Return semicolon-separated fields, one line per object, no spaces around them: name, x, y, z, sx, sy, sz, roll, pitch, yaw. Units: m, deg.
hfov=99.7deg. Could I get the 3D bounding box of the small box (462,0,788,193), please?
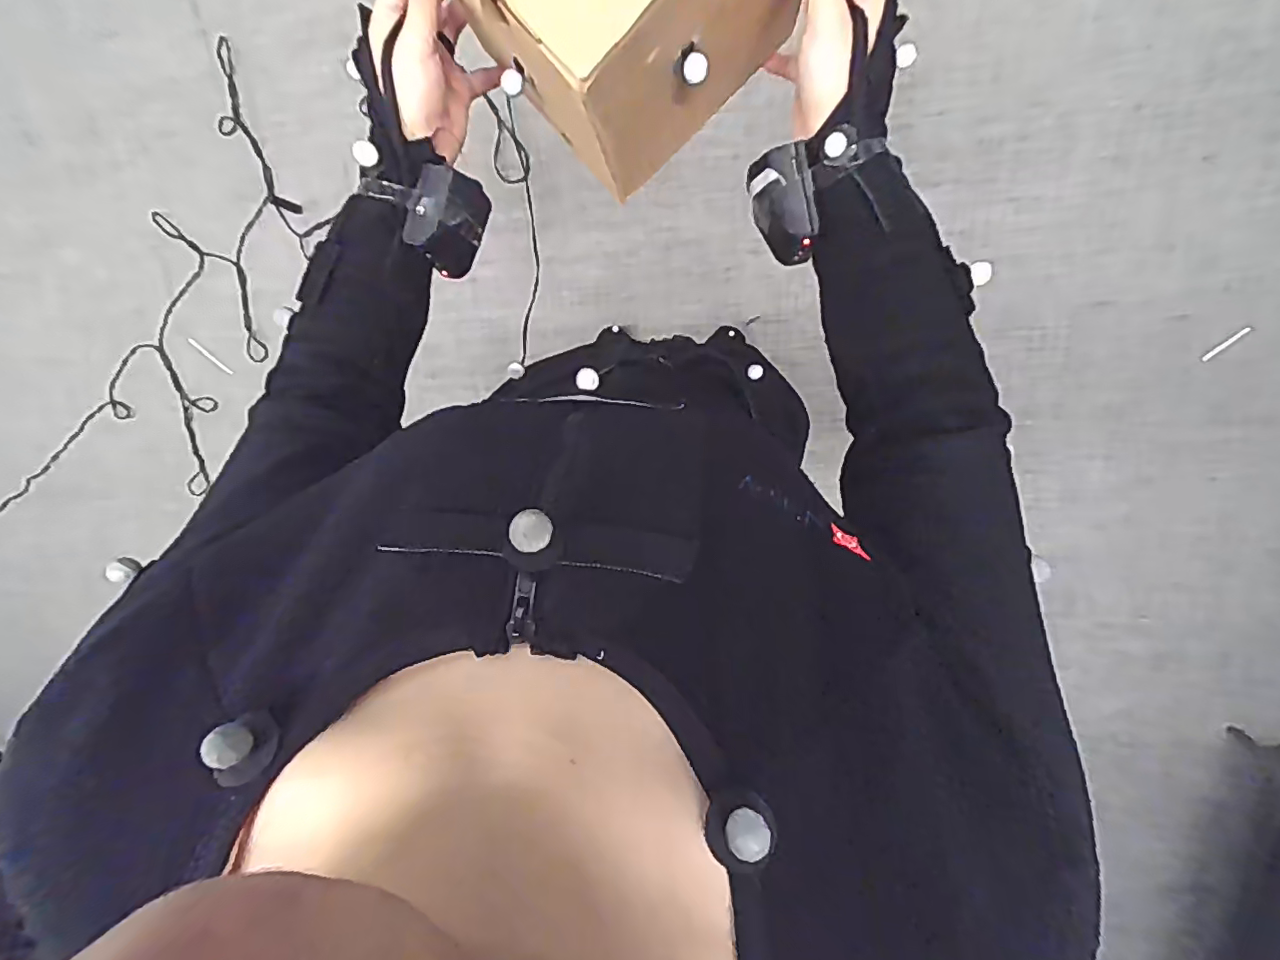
small box;-0.012;-0.324;0.339;0.179;0.176;0.168;-42;93;10
